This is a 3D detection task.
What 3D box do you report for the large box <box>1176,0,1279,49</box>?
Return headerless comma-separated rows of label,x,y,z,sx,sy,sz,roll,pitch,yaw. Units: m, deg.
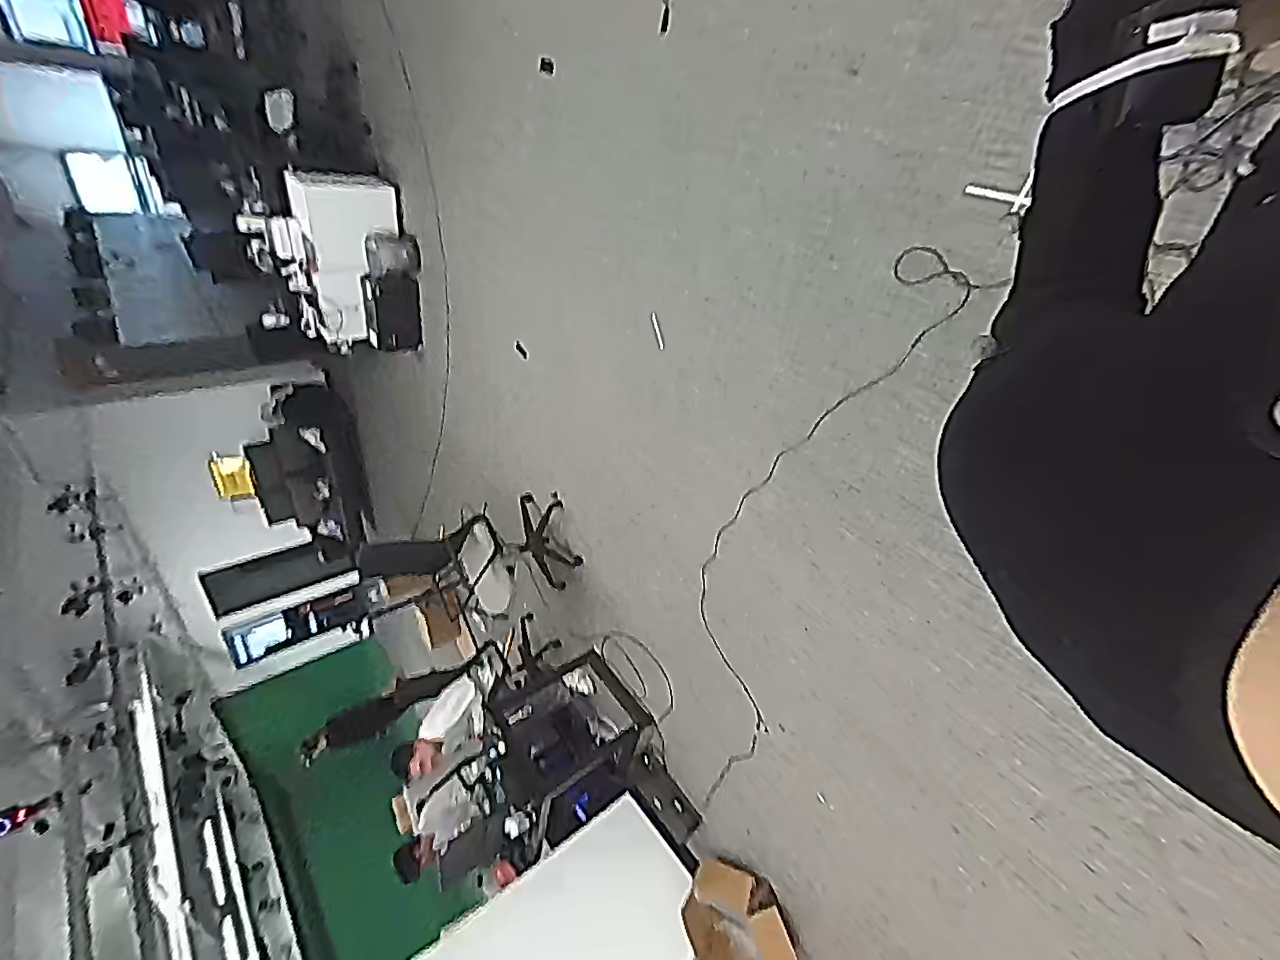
large box,0.552,-0.484,0.250,0.408,0.320,0.320,10,120,47
